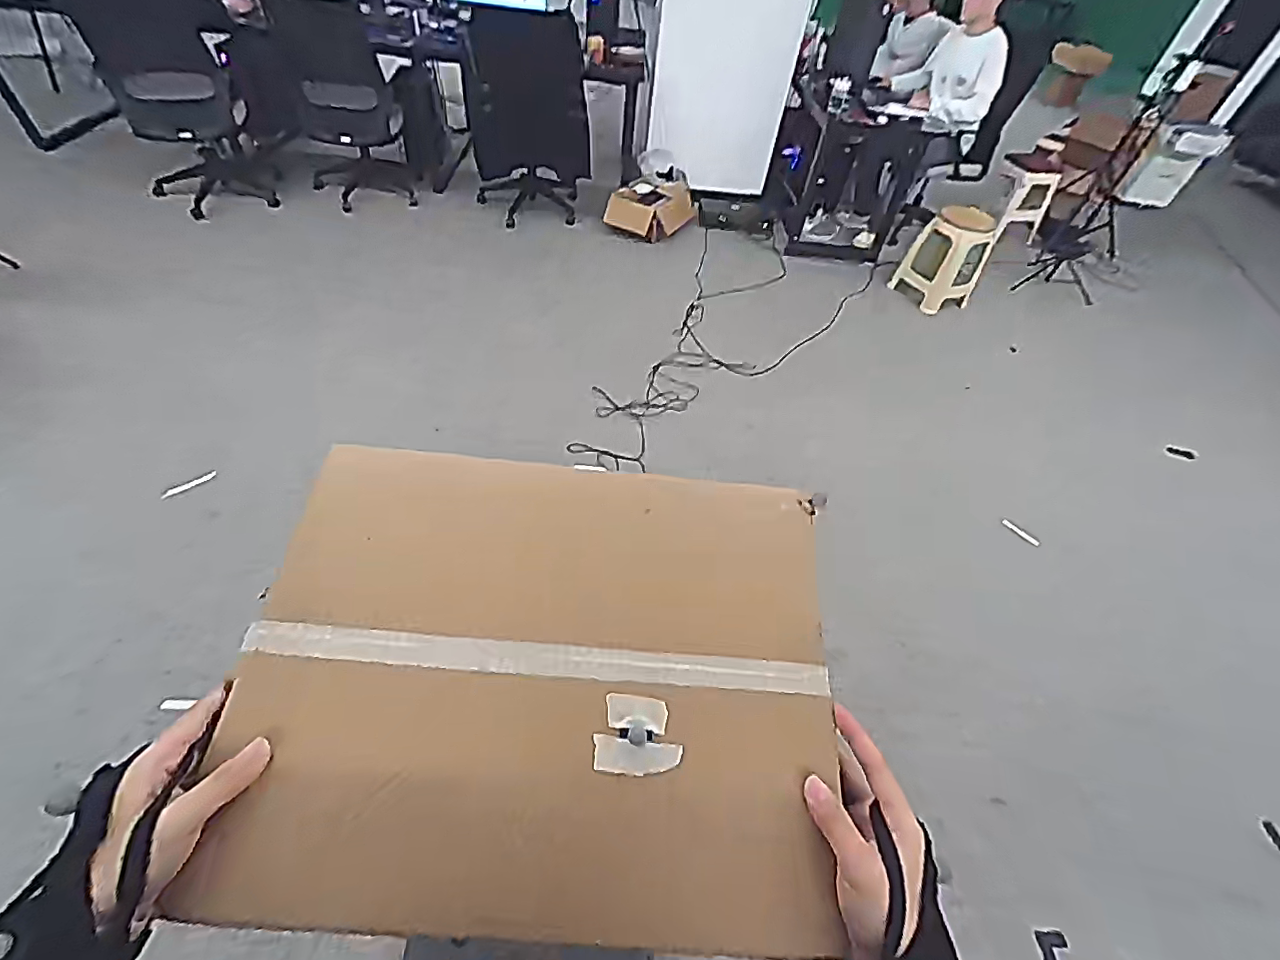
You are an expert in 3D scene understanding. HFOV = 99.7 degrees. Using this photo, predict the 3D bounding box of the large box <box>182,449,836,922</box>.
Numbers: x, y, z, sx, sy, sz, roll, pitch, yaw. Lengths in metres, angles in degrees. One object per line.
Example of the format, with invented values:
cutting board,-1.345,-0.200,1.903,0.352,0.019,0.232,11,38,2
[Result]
large box,-0.080,0.194,0.527,0.408,0.320,0.320,6,62,-3
